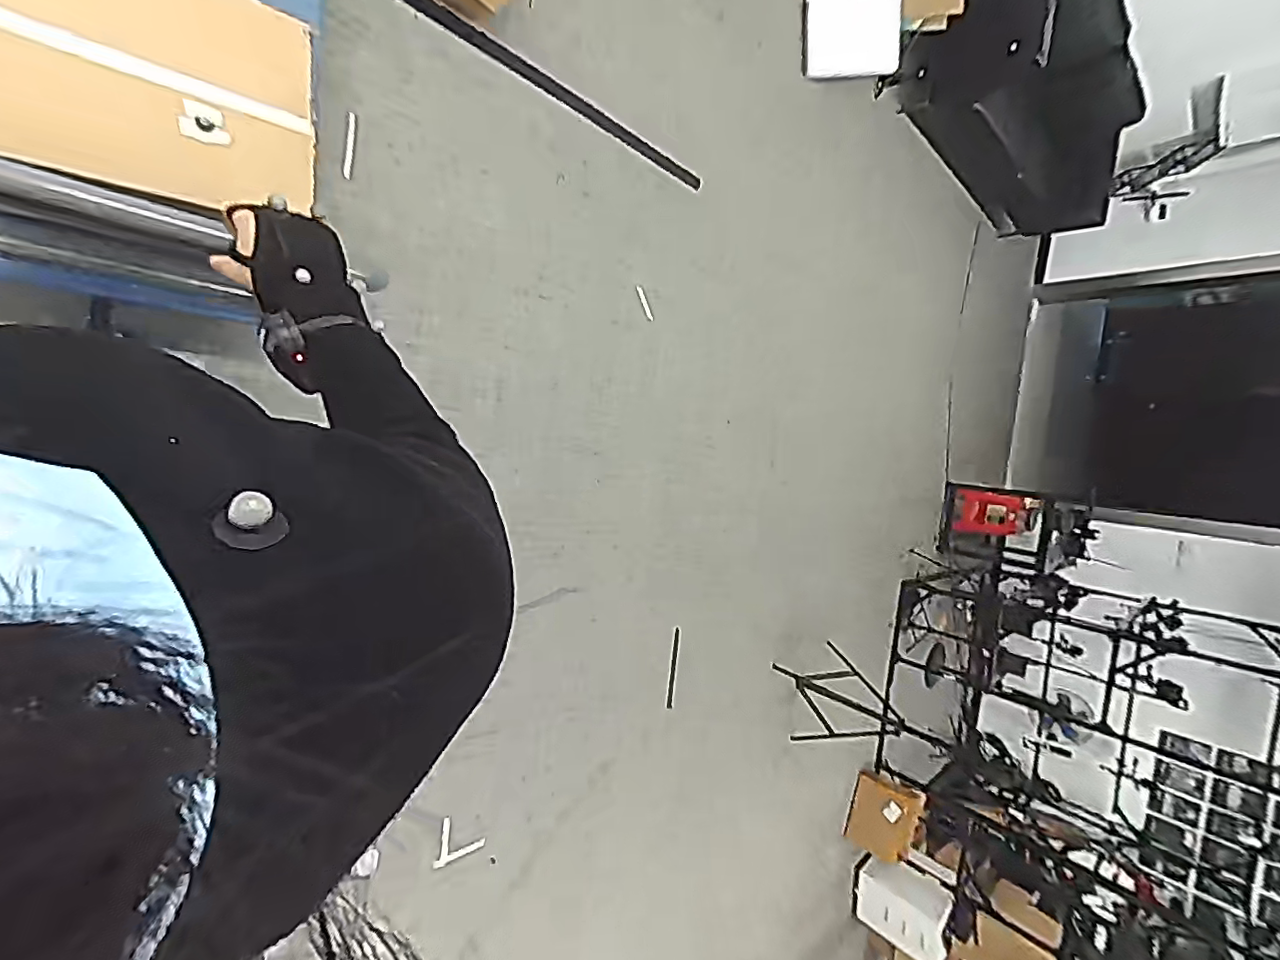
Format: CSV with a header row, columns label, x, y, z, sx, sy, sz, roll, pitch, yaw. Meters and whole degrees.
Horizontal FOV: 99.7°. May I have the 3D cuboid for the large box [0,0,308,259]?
label,x,y,z,sx,sy,sz,roll,pitch,yaw
large box,-0.783,-0.569,0.834,0.408,0.320,0.320,-3,99,-45
